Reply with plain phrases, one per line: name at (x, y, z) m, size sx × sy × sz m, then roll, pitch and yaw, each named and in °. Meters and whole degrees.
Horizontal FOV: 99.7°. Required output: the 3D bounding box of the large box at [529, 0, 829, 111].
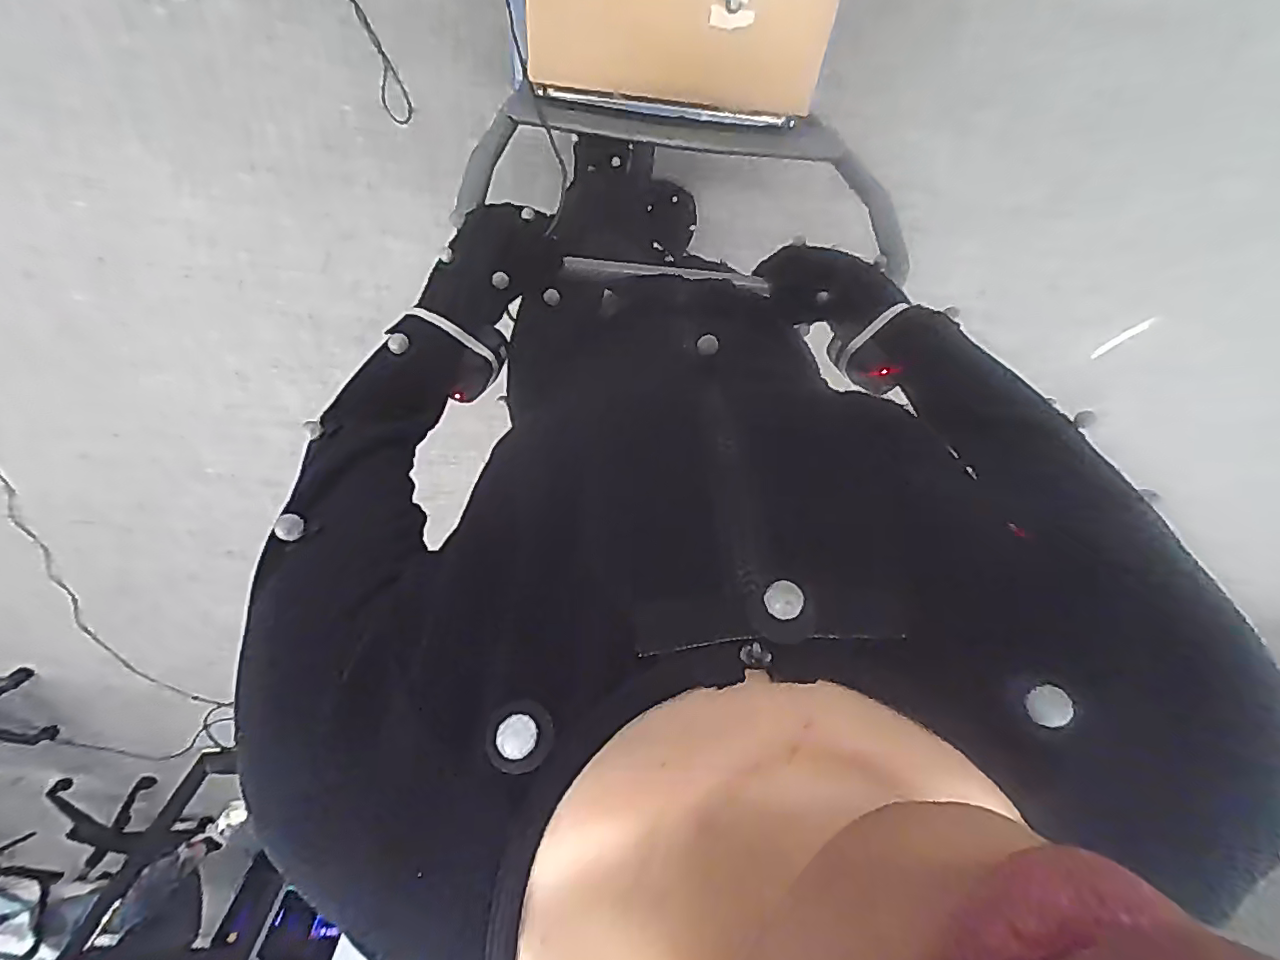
large box at (0.051, -0.767, 0.794) m, size 0.408 × 0.320 × 0.320 m, roll 3°, pitch 133°, yaw -5°
